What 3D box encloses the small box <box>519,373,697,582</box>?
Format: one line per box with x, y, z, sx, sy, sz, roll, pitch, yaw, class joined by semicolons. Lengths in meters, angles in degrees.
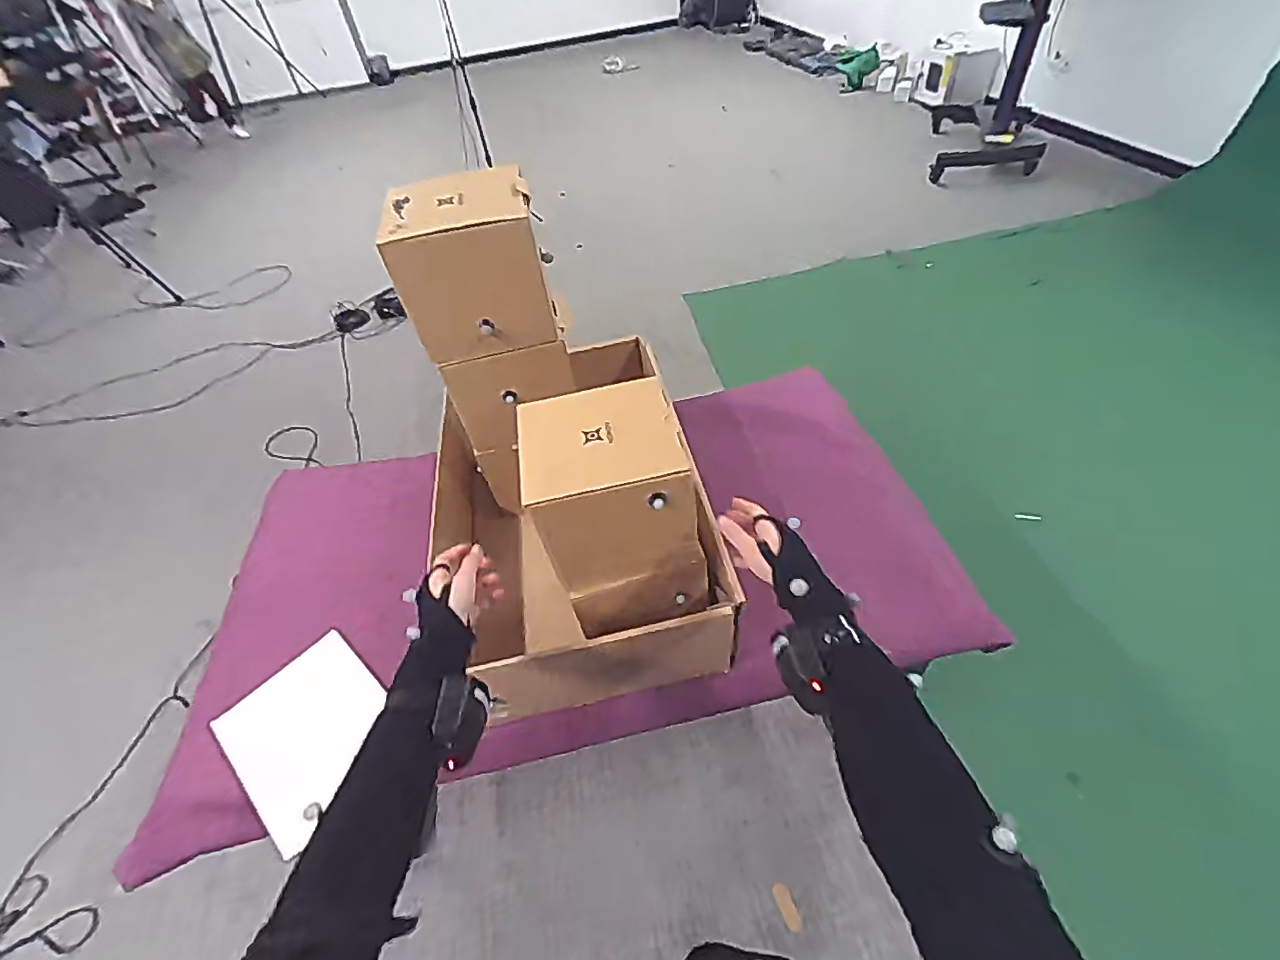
-0.036;0.001;0.646;0.179;0.176;0.168;-12;47;-3;small box

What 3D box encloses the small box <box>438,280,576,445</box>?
-0.196;-0.179;0.834;0.179;0.176;0.168;-14;49;-5;small box

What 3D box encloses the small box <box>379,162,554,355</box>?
-0.214;-0.289;0.712;0.179;0.176;0.168;-12;49;-5;small box
